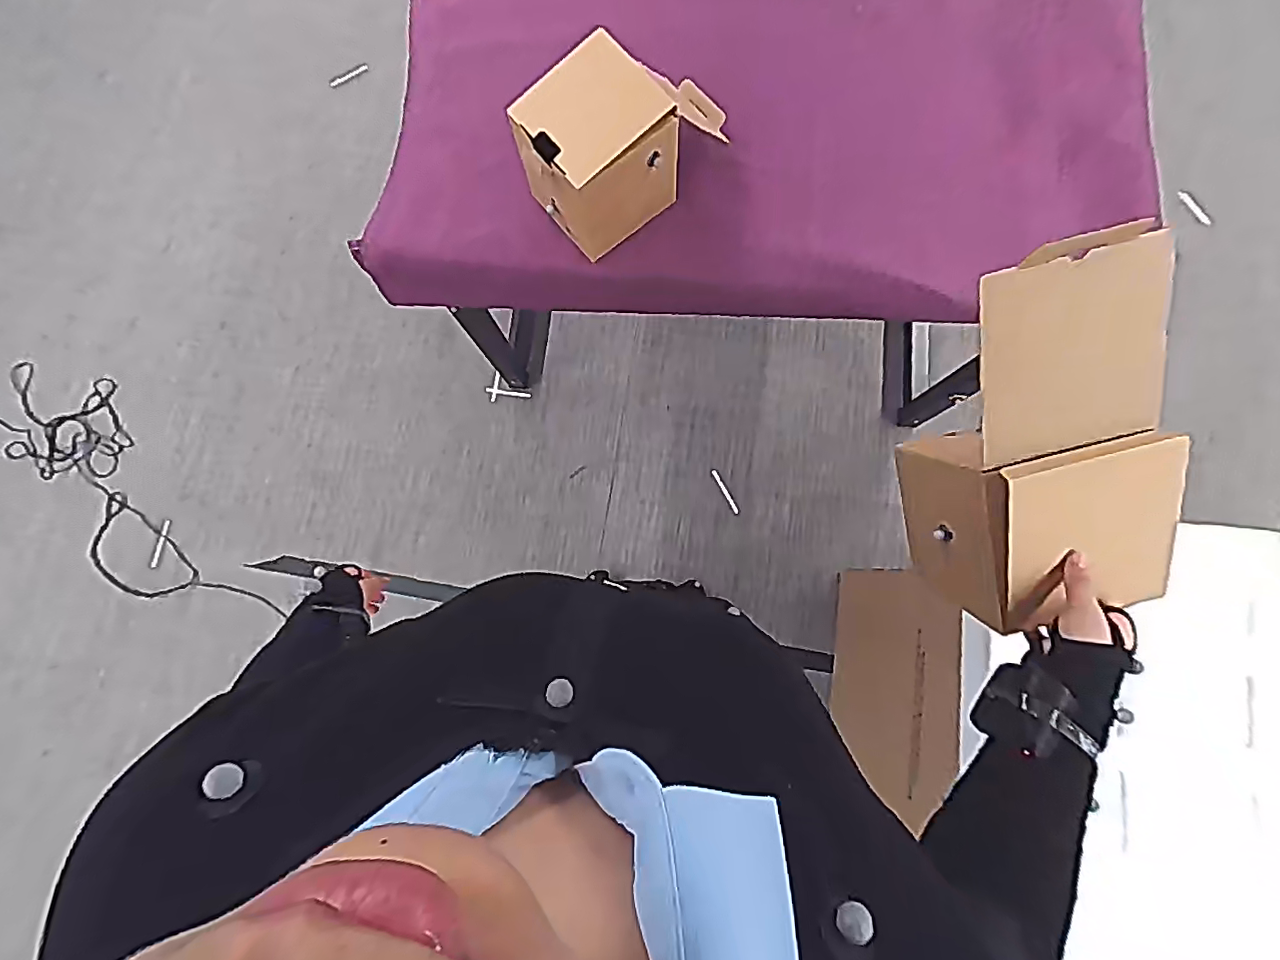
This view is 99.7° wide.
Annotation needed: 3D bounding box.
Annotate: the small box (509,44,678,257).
[{"bbox_3d":[-0.063,-0.480,0.810,0.179,0.176,0.168,-39,80,-5],"label":"small box"}]
